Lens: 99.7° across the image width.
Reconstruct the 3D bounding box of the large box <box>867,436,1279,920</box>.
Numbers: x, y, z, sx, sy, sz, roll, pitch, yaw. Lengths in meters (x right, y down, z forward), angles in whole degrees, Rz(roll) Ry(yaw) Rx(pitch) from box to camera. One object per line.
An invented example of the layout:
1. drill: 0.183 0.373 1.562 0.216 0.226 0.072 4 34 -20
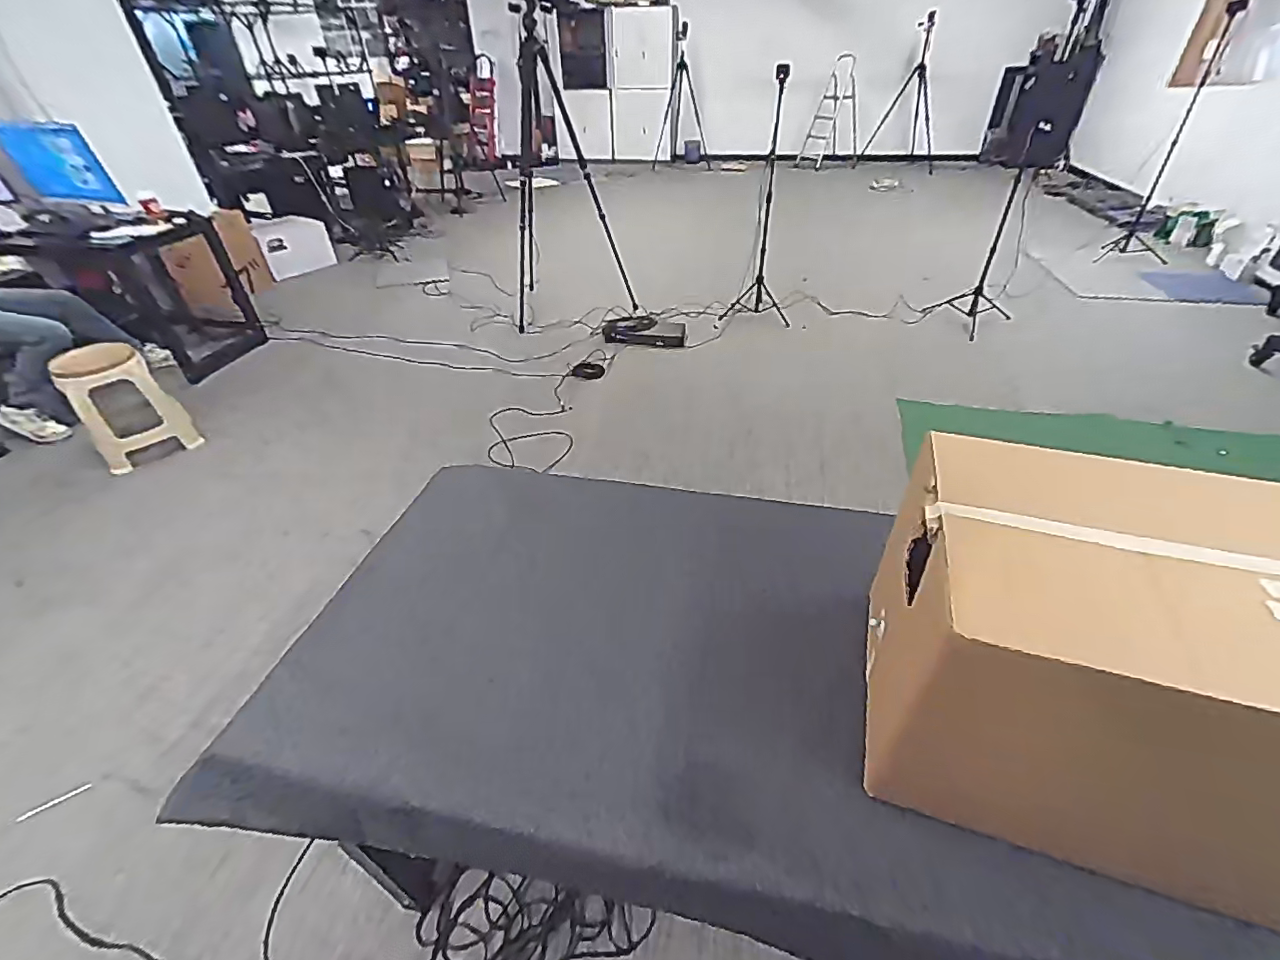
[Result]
1. large box: 0.492 0.188 0.588 0.408 0.320 0.320 12 40 15
